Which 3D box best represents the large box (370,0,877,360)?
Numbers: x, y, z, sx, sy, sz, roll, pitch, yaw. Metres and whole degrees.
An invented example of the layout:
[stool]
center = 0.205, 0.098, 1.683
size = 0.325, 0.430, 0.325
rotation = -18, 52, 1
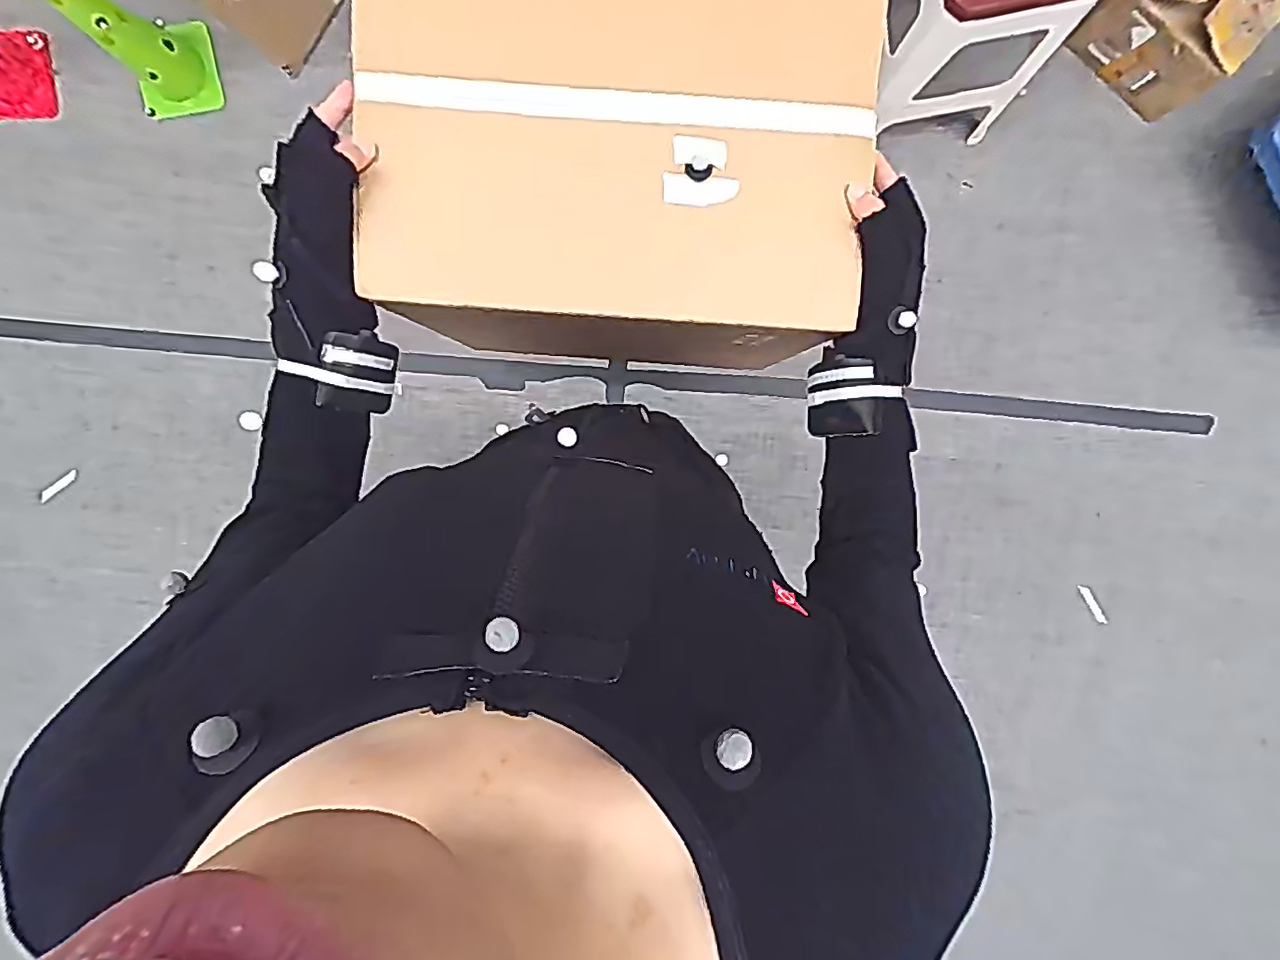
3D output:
[large box]
center = -0.019, -0.312, 0.579
size = 0.408, 0.320, 0.320
rotation = 3, 96, -2
